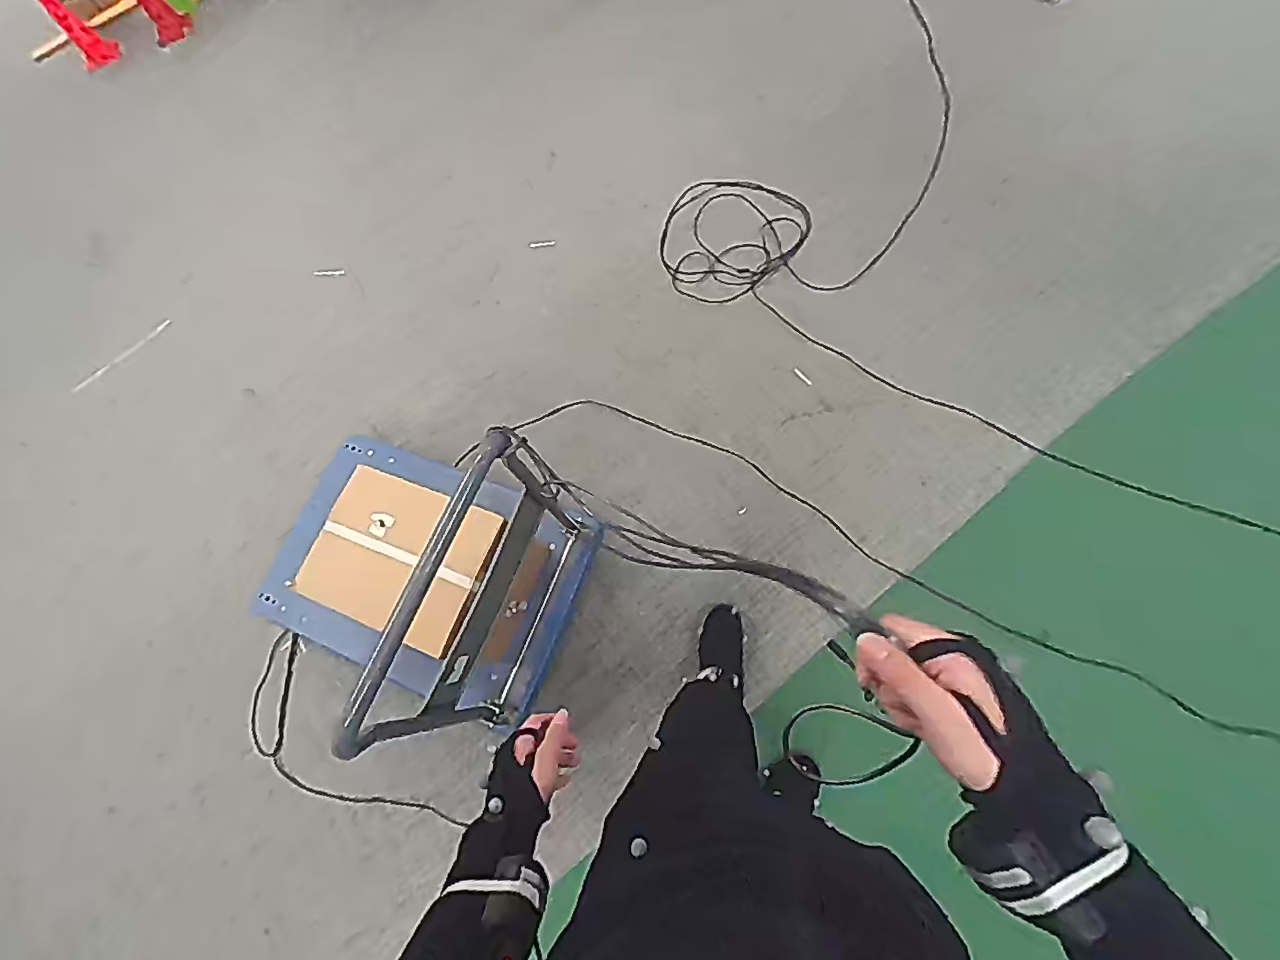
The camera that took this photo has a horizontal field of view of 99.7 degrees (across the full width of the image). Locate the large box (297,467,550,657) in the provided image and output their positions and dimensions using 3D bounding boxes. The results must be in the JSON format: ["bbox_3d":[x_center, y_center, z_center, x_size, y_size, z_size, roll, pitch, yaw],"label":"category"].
[{"bbox_3d":[-0.490,0.208,1.303,0.408,0.320,0.320,17,74,17],"label":"large box"}]
